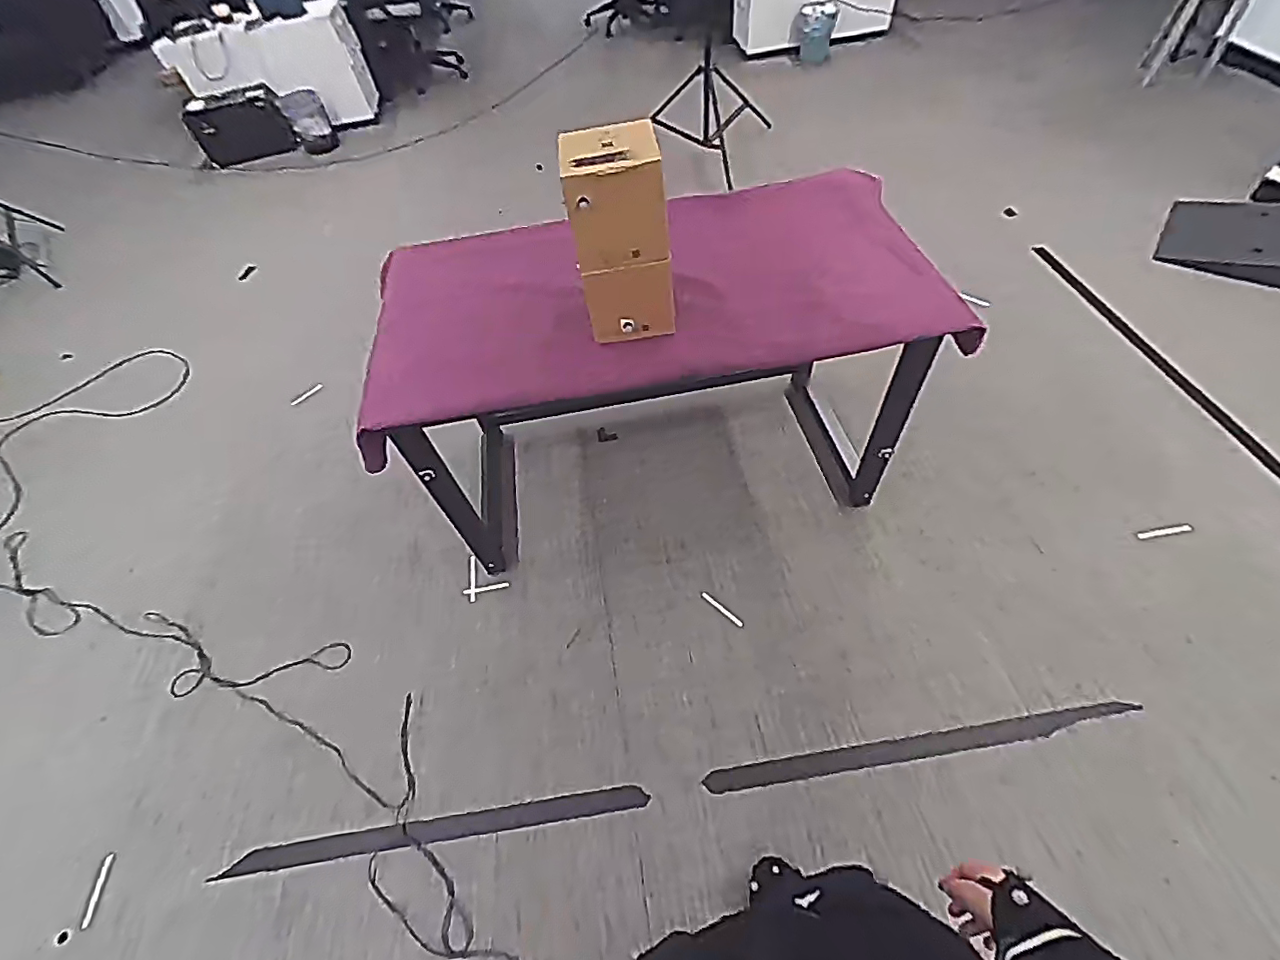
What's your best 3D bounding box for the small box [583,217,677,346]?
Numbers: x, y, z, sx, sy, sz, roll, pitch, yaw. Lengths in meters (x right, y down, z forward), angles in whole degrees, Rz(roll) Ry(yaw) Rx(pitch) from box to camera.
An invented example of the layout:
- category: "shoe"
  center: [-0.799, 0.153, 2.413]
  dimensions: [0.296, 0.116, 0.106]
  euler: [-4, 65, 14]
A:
- category: "small box"
  center: [-0.019, -0.399, 1.095]
  dimensions: [0.168, 0.176, 0.179]
  euler: [-9, 54, 2]
